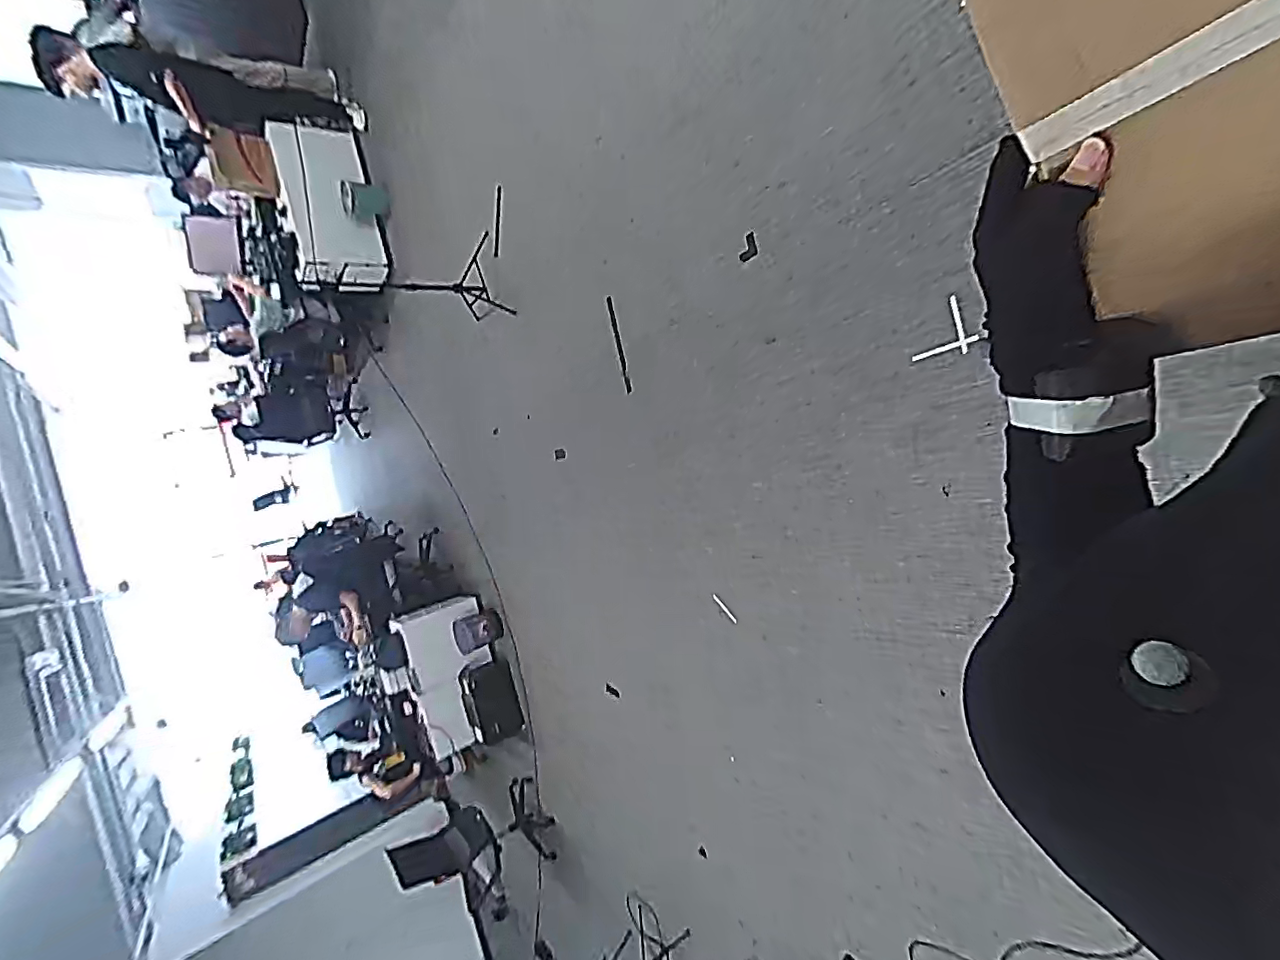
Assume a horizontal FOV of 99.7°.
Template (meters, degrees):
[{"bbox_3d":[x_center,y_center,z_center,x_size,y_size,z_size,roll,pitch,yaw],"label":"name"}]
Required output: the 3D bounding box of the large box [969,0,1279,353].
[{"bbox_3d":[0.434,-0.314,0.232,0.320,0.320,0.408,53,151,-16],"label":"large box"}]
